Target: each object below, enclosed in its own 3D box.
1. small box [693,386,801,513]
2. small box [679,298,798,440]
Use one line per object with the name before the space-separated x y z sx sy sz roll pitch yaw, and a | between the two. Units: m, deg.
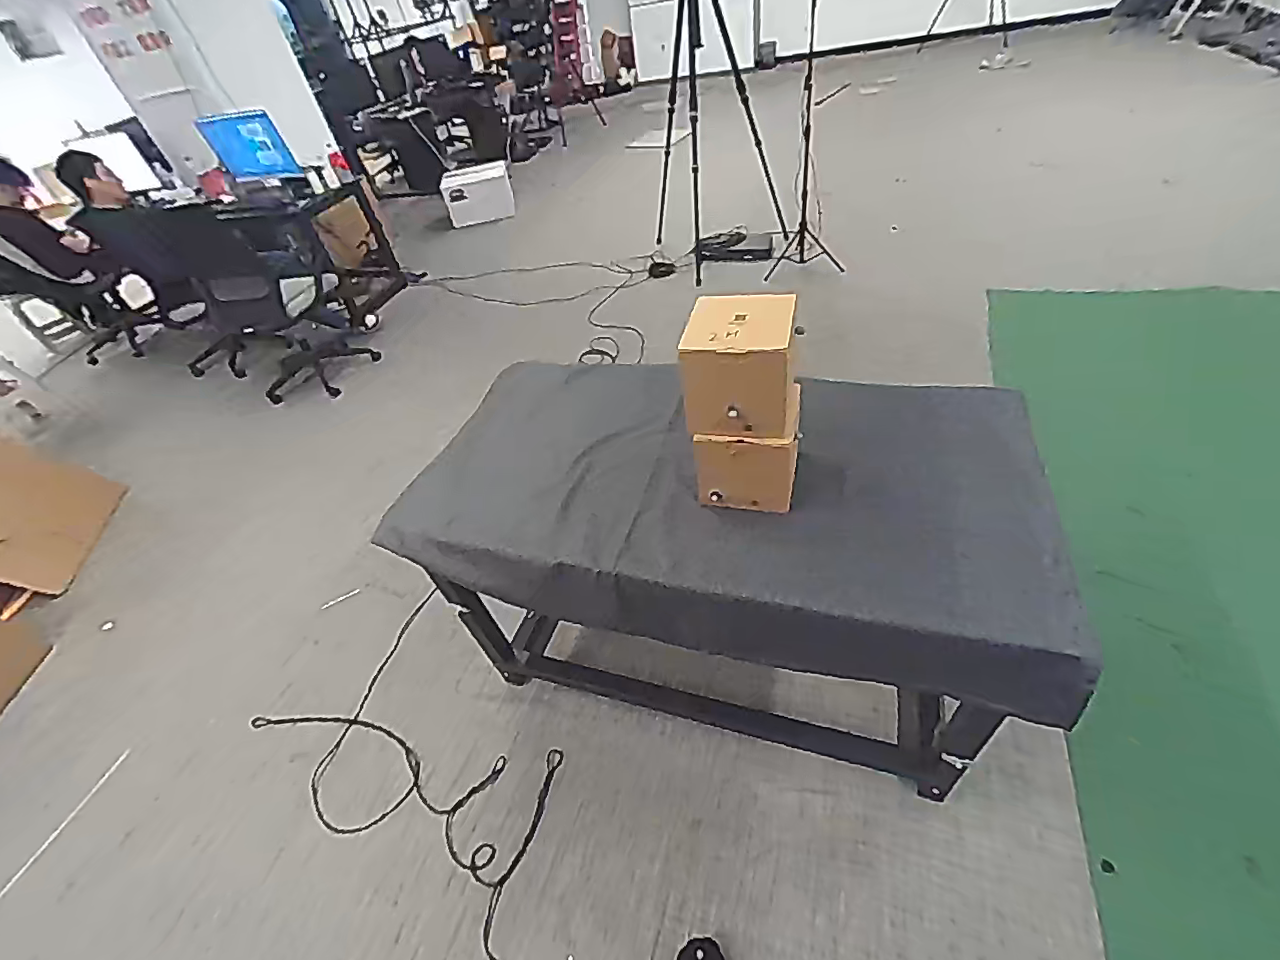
small box | 0.204 -0.059 1.004 0.168 0.176 0.179 6 45 19
small box | 0.170 -0.187 0.906 0.168 0.176 0.179 4 47 18
